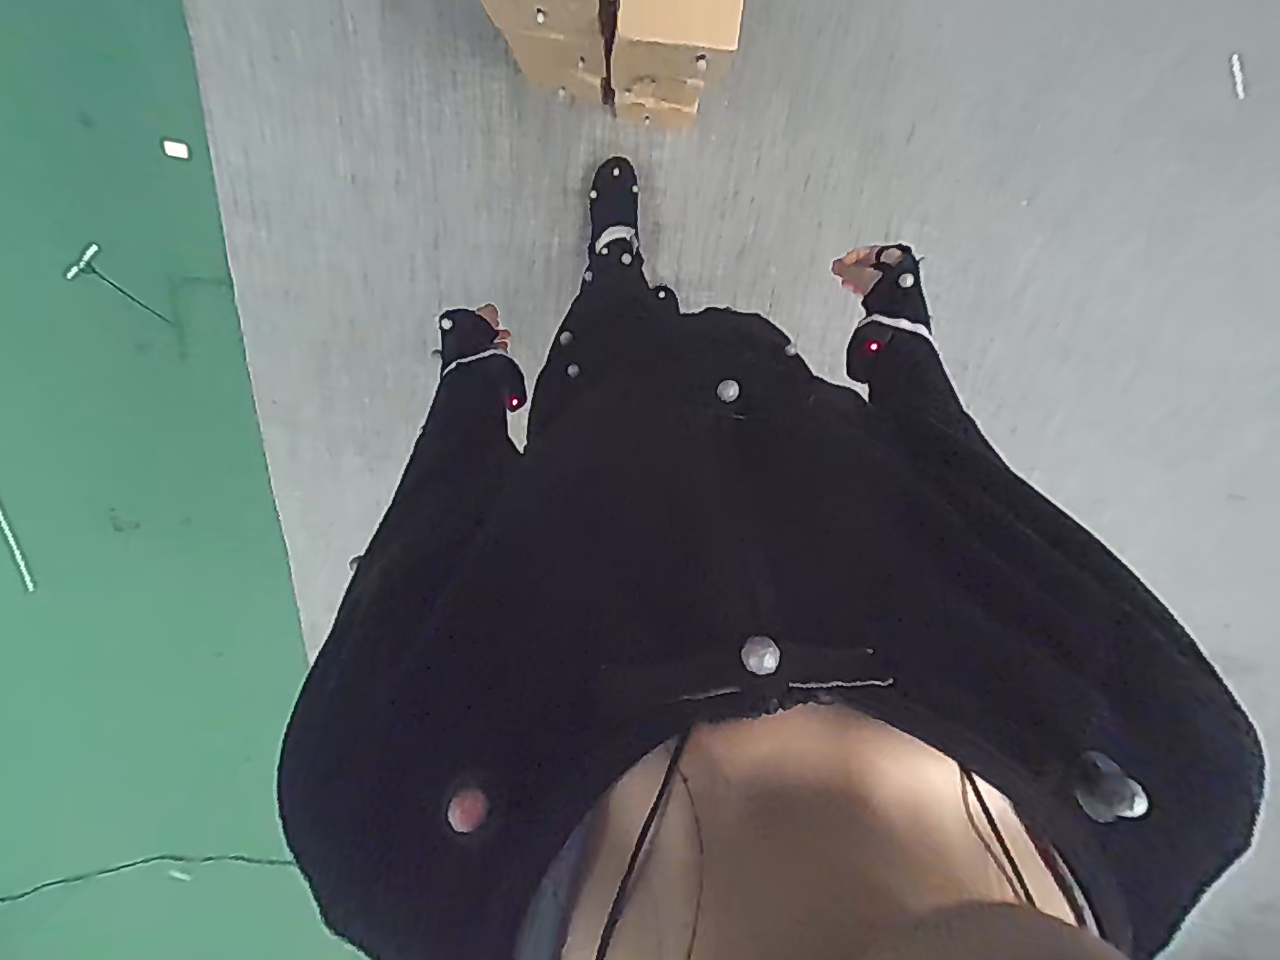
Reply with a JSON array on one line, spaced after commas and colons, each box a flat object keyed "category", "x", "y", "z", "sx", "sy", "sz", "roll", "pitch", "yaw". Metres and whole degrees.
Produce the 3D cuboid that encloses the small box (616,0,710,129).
[{"category": "small box", "x": 0.039, "y": -0.847, "z": 1.110, "sx": 0.168, "sy": 0.176, "sz": 0.179, "roll": 5, "pitch": 114, "yaw": -4}]
